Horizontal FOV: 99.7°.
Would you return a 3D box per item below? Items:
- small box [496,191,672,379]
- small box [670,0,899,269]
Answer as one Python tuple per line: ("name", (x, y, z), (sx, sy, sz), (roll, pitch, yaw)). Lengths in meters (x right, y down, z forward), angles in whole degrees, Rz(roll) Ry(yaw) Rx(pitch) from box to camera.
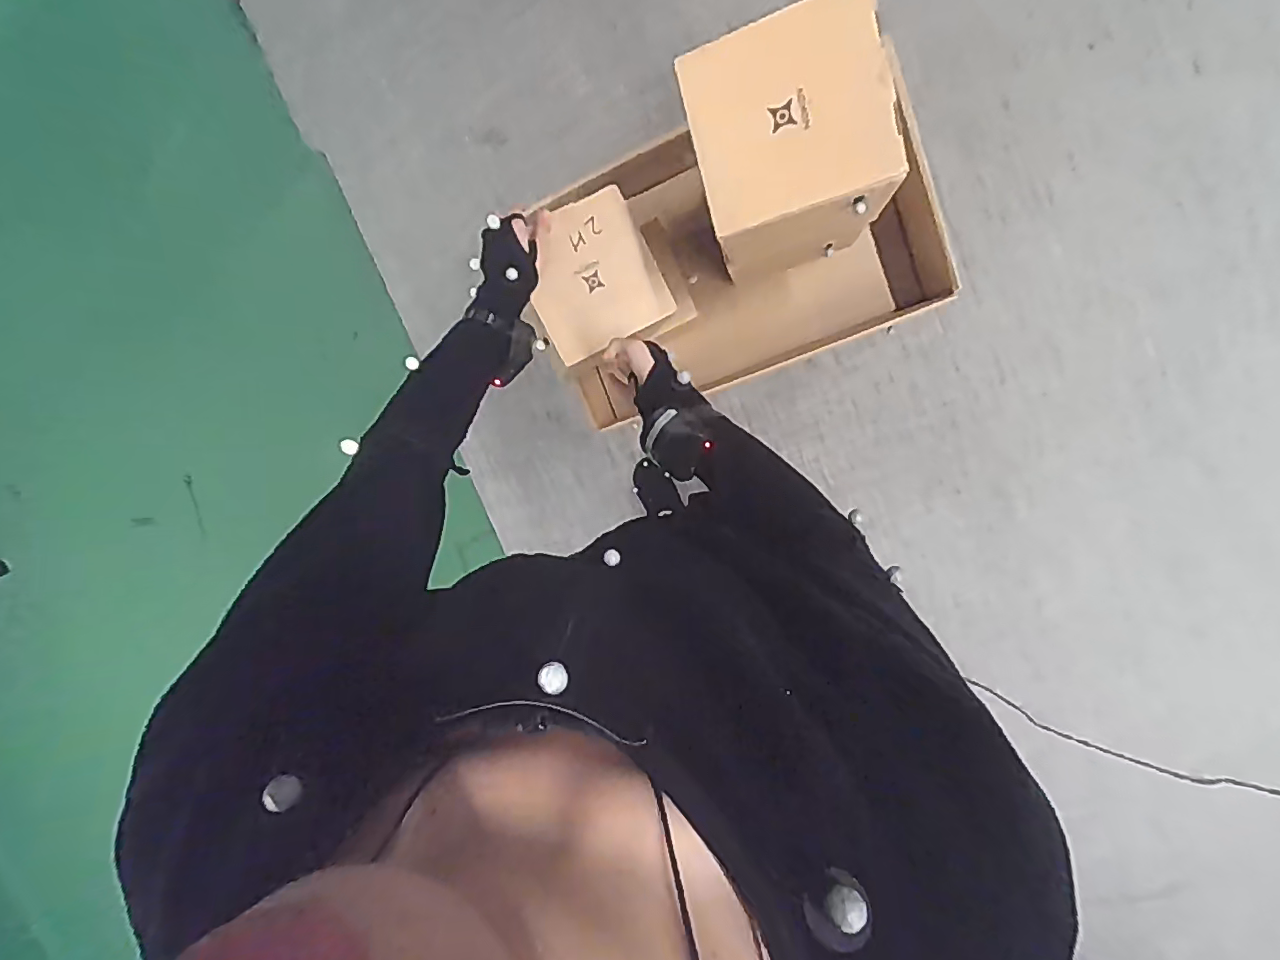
("small box", (-0.080, -0.251, 0.748), (0.168, 0.176, 0.179), (-29, 98, -9))
("small box", (0.147, -0.336, 0.562), (0.179, 0.176, 0.168), (-13, 98, 16))
